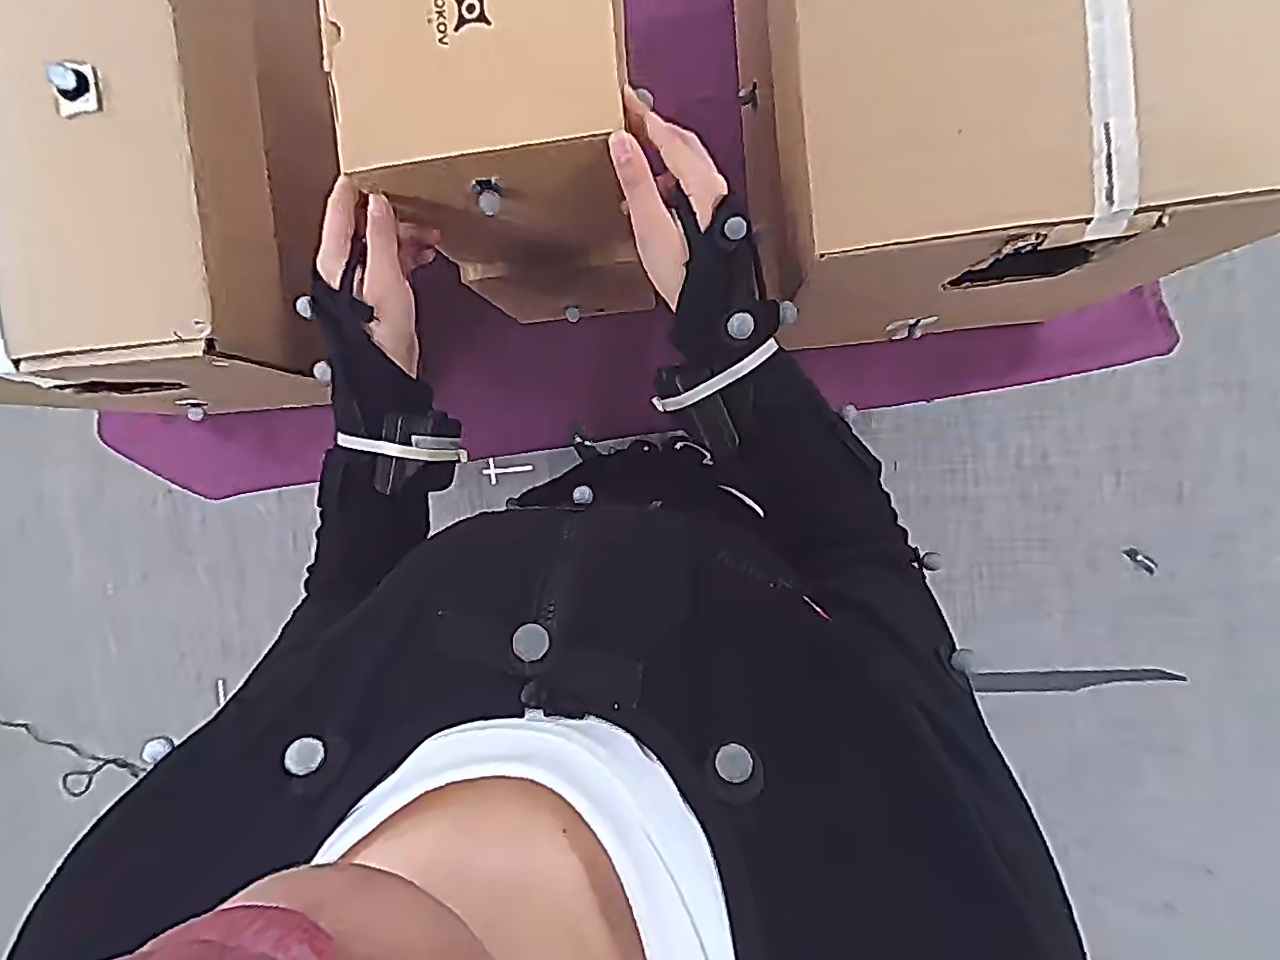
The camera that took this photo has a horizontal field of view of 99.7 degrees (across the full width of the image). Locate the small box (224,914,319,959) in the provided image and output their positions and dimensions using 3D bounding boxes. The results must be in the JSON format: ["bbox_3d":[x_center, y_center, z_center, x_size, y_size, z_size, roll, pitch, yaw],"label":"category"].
[{"bbox_3d":[-1.017,1.341,1.489,0.179,0.176,0.168,-6,93,7],"label":"small box"}]

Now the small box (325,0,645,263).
[{"bbox_3d":[-0.092,-0.275,0.394,0.179,0.176,0.168,-4,93,8],"label":"small box"}]

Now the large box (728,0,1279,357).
[{"bbox_3d":[0.250,-0.346,0.448,0.320,0.320,0.408,-5,91,6],"label":"large box"}]
